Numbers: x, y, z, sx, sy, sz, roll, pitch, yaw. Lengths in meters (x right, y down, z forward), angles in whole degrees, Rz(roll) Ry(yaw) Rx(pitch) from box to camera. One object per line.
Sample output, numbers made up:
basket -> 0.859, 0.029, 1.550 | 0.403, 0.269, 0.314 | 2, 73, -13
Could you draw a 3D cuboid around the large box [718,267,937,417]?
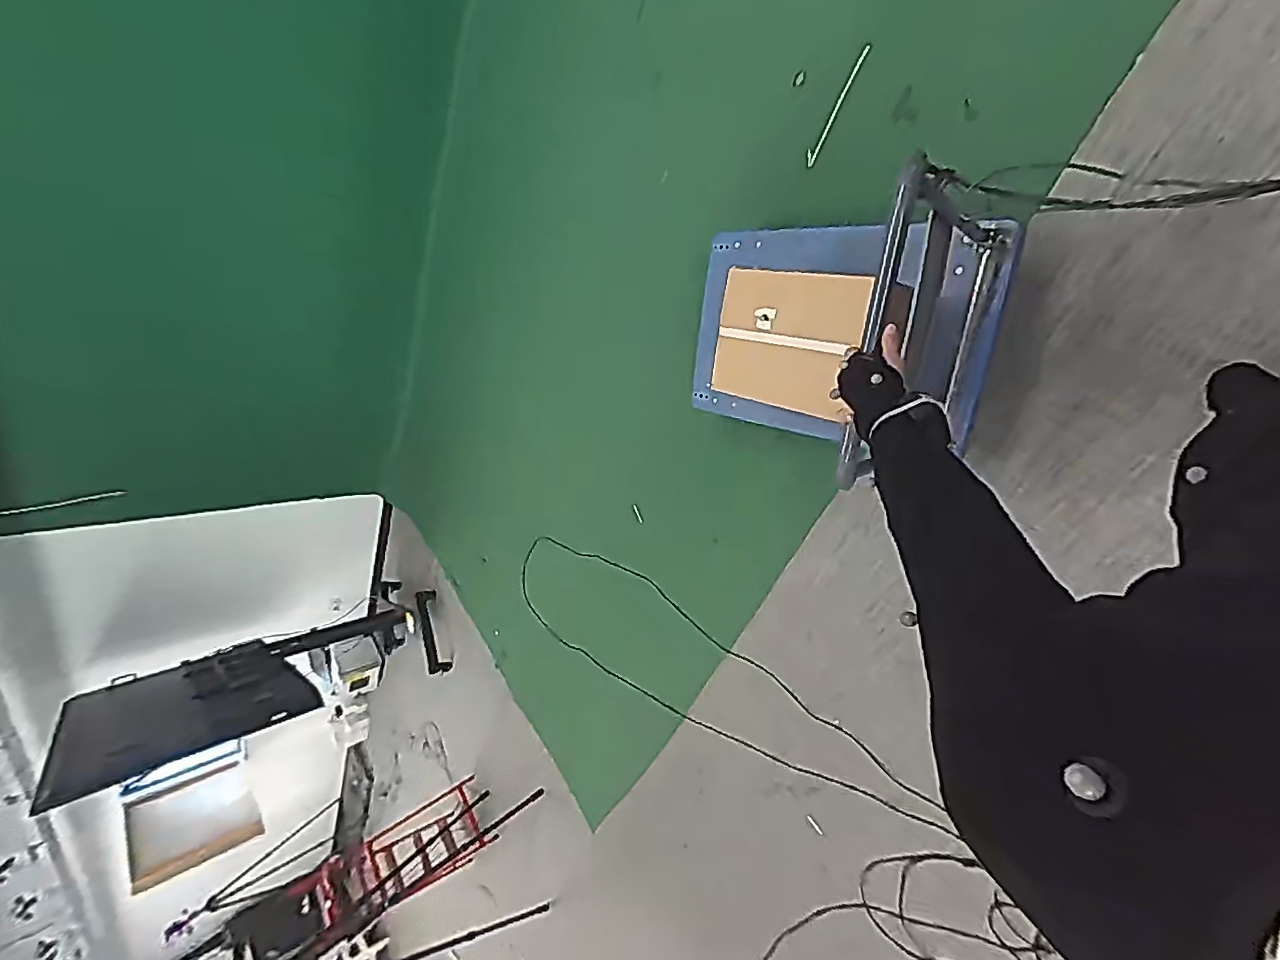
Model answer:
large box -> 0.470, -0.360, 1.387 | 0.408, 0.320, 0.320 | 24, 115, 42
